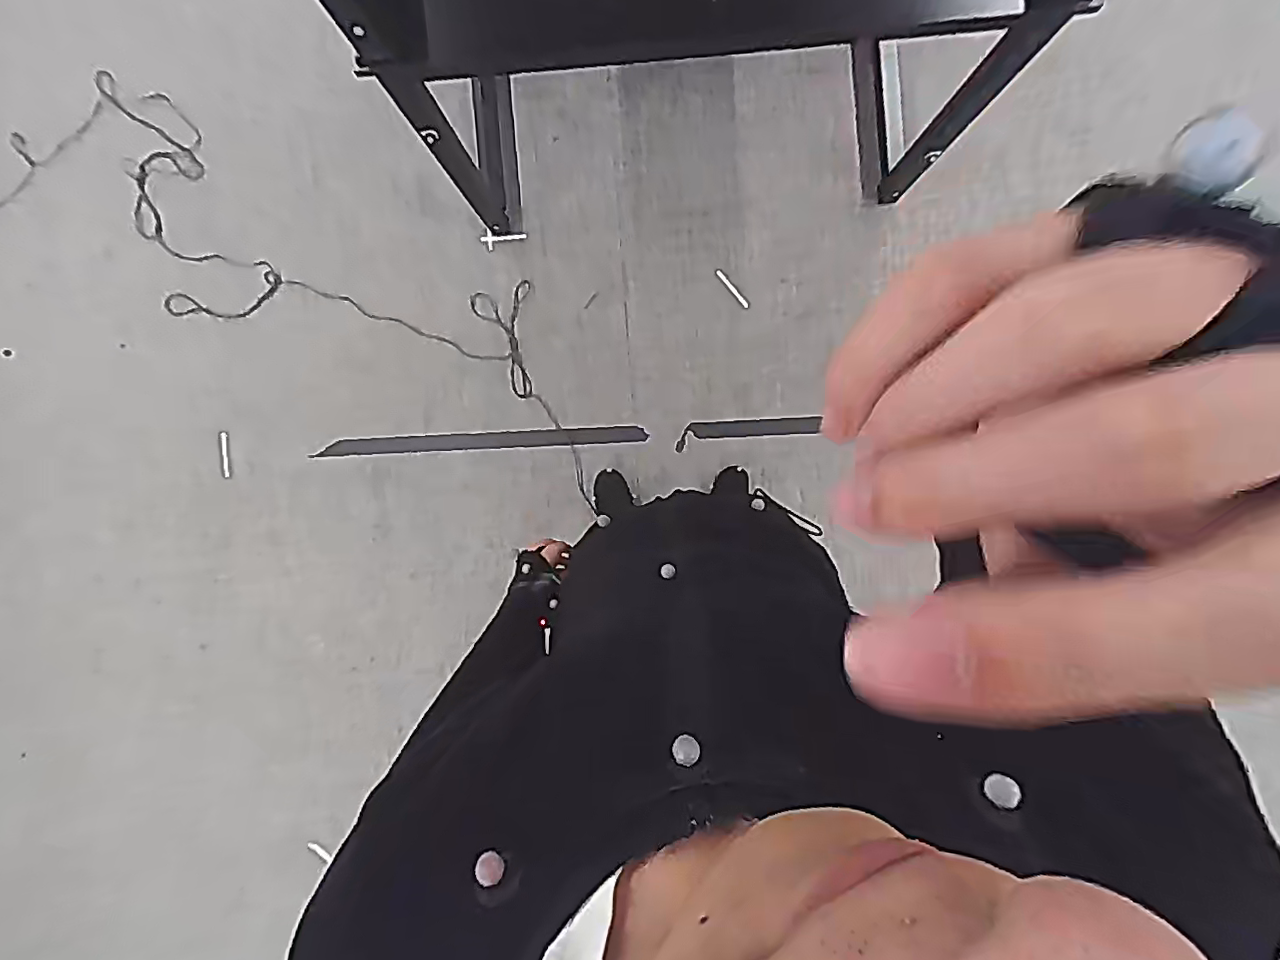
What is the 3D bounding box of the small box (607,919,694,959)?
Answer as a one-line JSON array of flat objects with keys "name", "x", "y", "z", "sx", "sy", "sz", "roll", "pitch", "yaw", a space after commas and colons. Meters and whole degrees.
[{"name": "small box", "x": 0.027, "y": 0.992, "z": 1.029, "sx": 0.168, "sy": 0.176, "sz": 0.179, "roll": -7, "pitch": 94, "yaw": 0}]
